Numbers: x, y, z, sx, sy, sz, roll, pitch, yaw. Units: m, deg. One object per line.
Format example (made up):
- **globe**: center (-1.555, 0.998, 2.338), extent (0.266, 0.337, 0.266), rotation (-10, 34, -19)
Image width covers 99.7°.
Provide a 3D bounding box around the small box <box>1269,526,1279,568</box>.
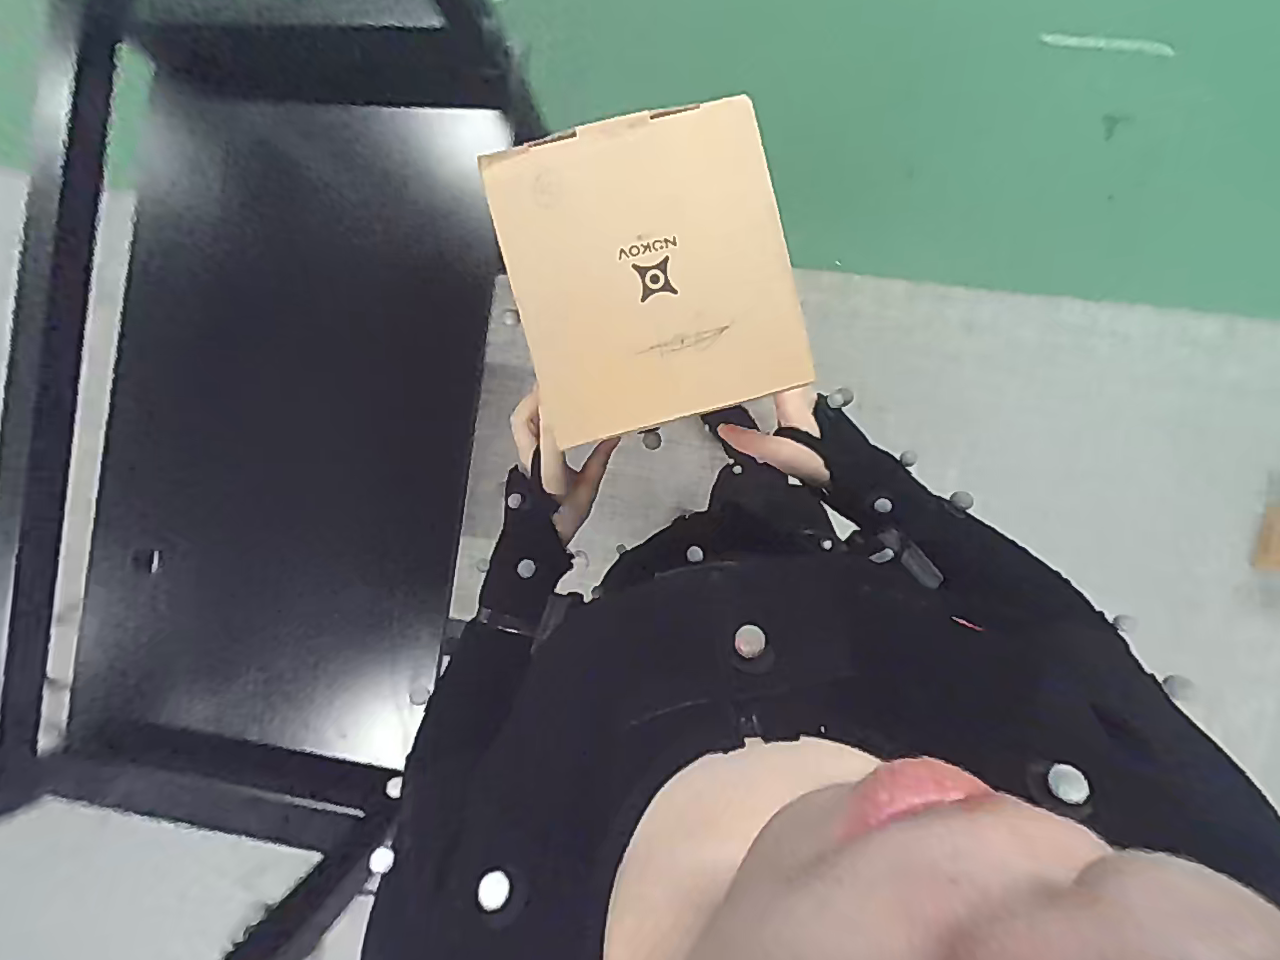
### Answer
- **small box**: center (1.629, 0.148, 1.237), extent (0.179, 0.176, 0.168), rotation (13, 92, 7)
